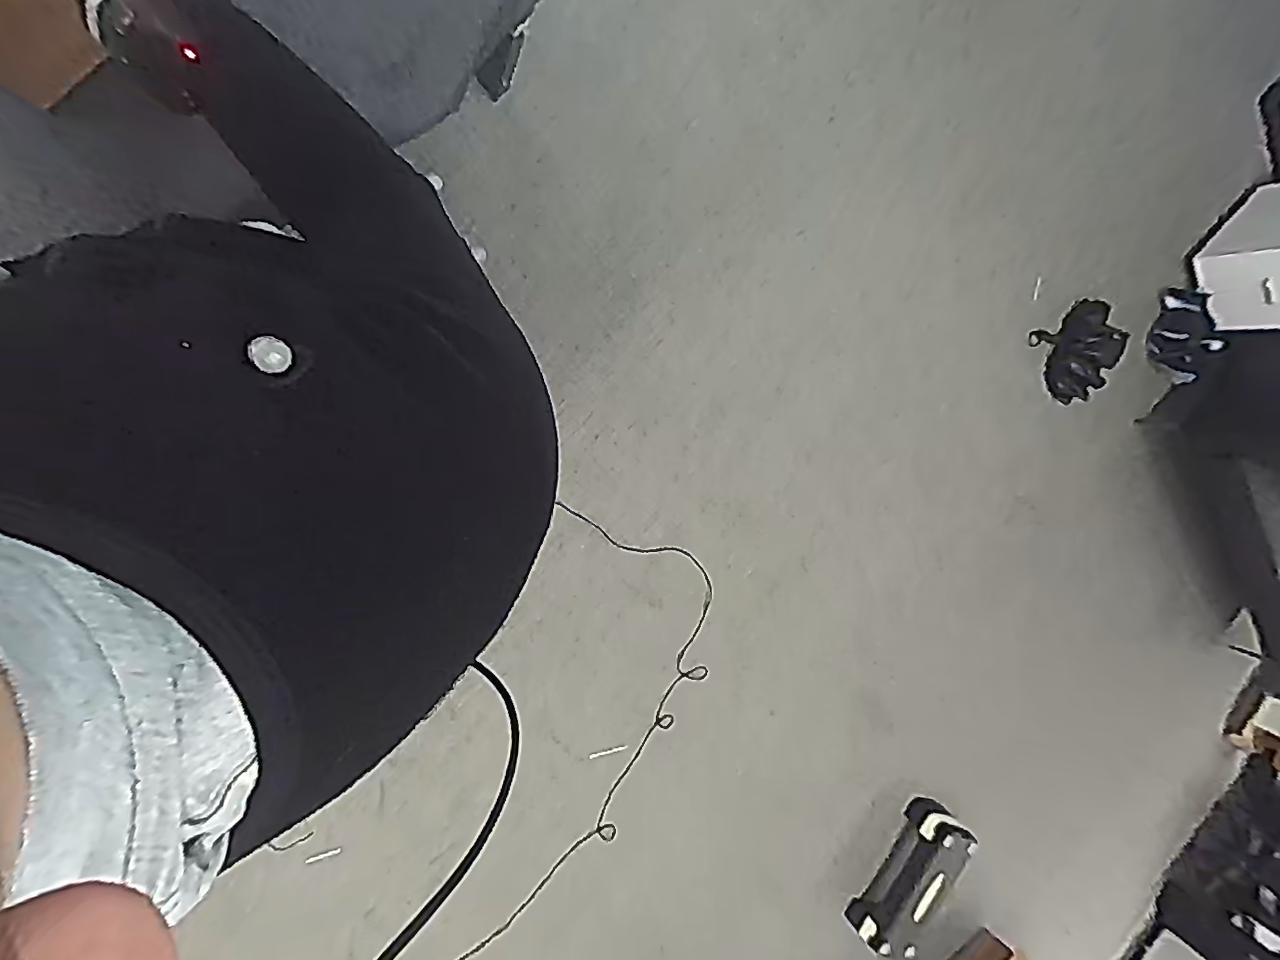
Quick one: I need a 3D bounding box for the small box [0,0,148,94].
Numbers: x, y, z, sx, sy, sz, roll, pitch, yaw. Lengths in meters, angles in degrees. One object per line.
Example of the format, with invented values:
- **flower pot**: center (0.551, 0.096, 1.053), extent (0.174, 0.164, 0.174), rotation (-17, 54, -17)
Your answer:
- **small box**: center (-0.587, -0.473, 0.456), extent (0.179, 0.176, 0.168), rotation (43, 83, -24)
